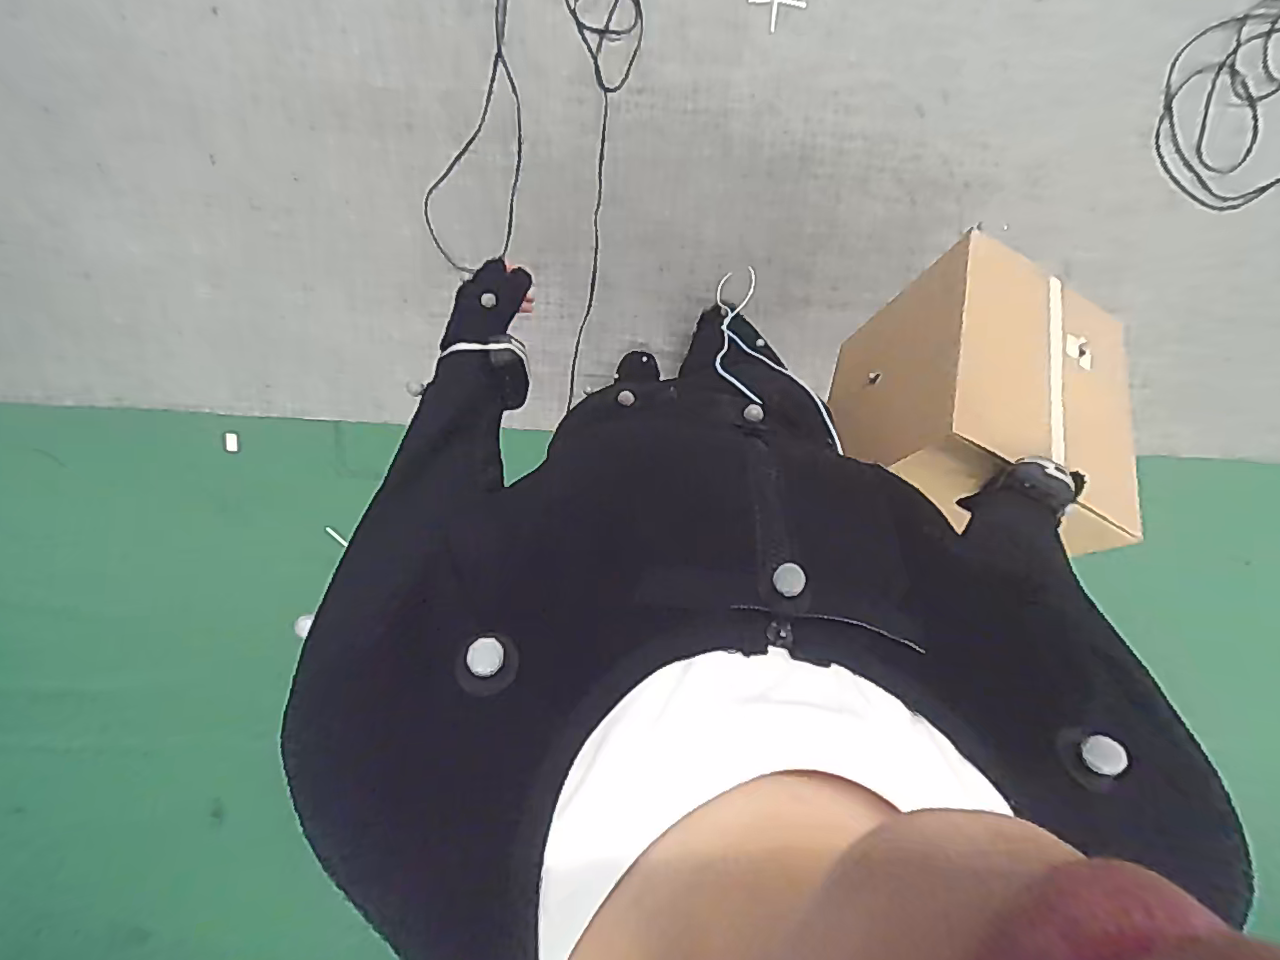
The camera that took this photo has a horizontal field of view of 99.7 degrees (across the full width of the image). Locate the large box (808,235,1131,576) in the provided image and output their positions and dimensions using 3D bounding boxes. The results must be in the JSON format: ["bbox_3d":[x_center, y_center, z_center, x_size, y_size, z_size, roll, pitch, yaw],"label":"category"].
[{"bbox_3d":[0.527,-0.102,0.908,0.320,0.320,0.408,27,63,-10],"label":"large box"}]
